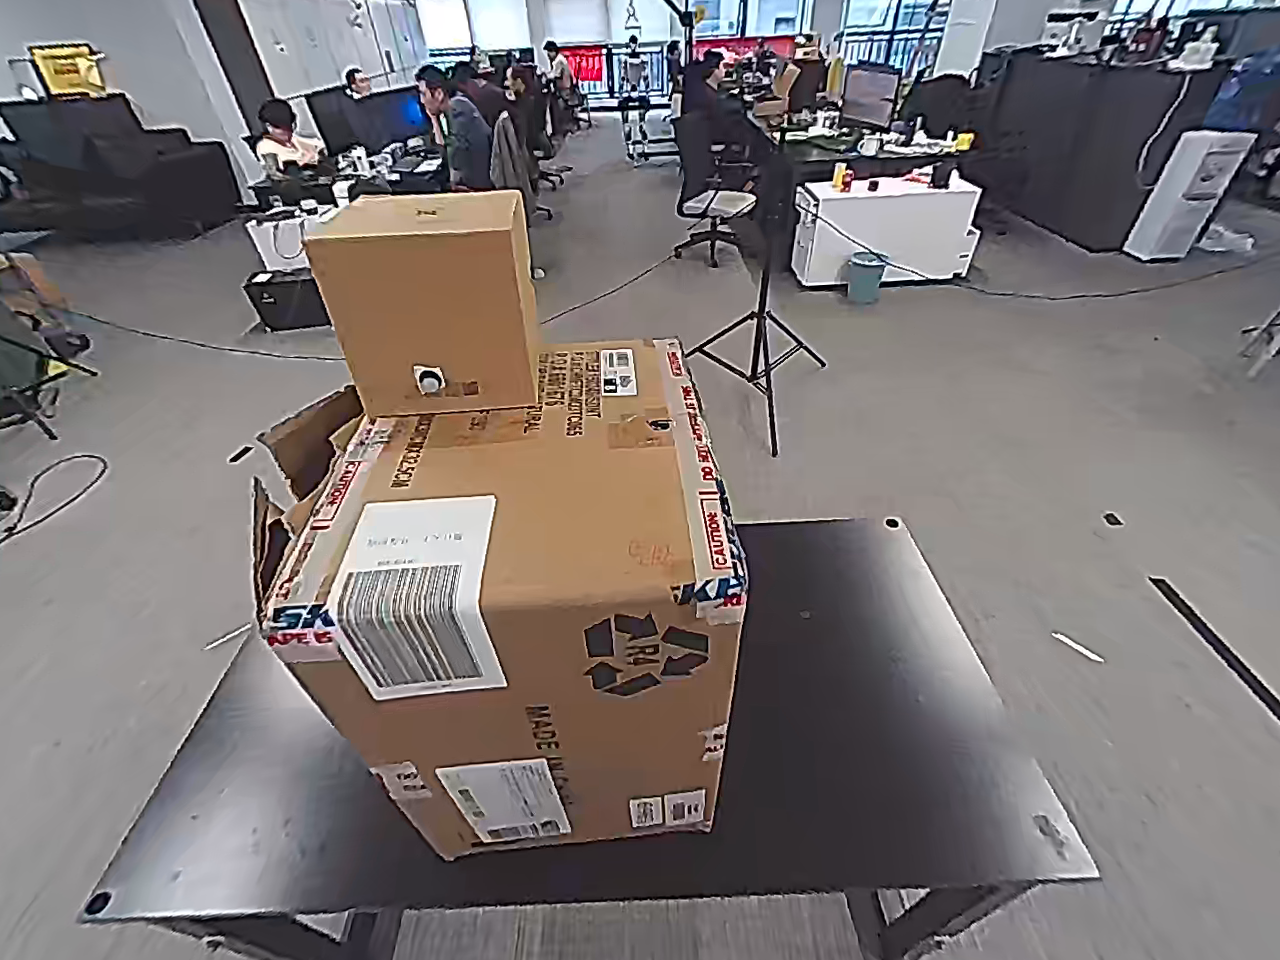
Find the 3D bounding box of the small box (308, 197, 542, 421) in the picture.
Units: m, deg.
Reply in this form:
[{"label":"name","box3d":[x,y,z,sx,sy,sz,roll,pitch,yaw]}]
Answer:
[{"label":"small box","box3d":[-0.195,-0.178,0.553,0.168,0.176,0.179,-6,39,-5]}]
